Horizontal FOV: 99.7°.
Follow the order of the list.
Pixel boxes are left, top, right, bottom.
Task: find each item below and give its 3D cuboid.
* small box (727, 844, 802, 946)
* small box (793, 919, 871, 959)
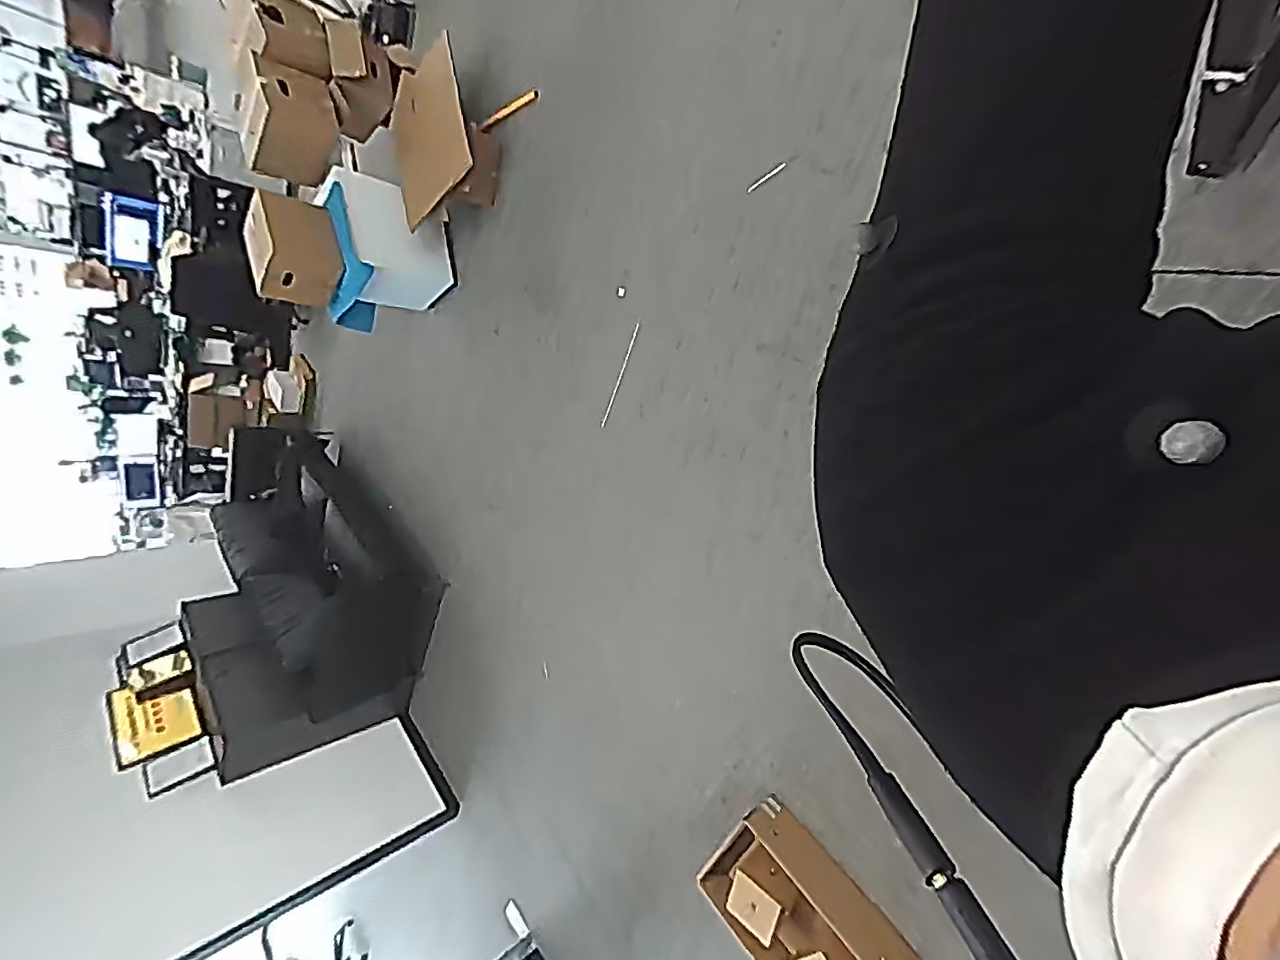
[{"bbox_3d":[0.423,1.381,1.815,0.168,0.176,0.179,23,109,39],"label":"small box"},{"bbox_3d":[0.598,1.509,1.668,0.168,0.176,0.179,52,126,27],"label":"small box"}]
